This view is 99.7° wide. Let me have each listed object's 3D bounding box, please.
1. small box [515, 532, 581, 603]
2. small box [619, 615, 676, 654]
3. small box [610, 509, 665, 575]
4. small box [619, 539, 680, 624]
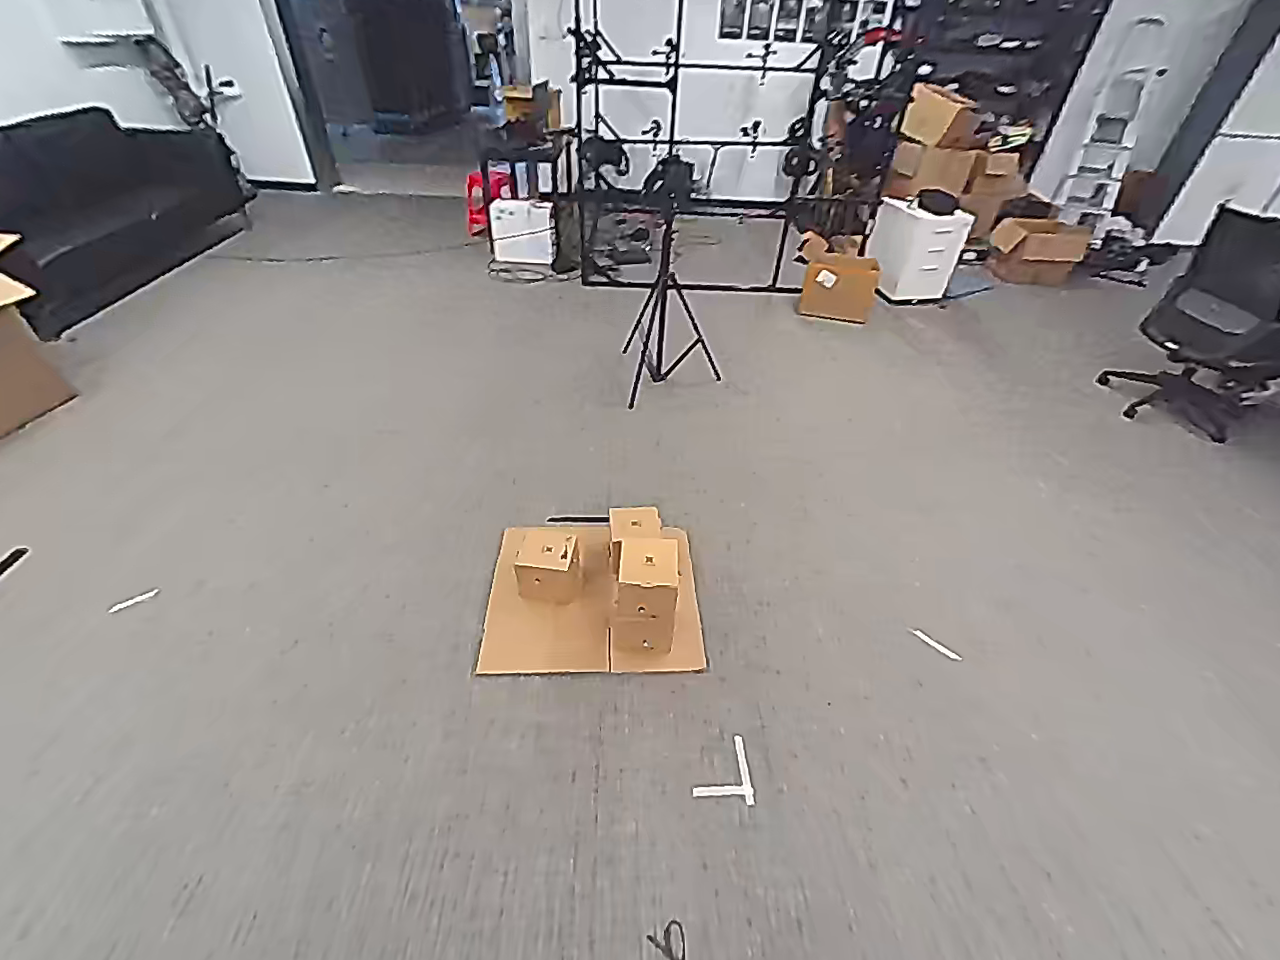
[{"bbox_3d":[-0.302,0.295,1.815,0.179,0.176,0.168,5,41,5],"label":"small box"},{"bbox_3d":[0.019,0.420,1.689,0.168,0.176,0.179,0,41,-2],"label":"small box"},{"bbox_3d":[-0.015,0.221,1.924,0.179,0.176,0.168,-2,39,-7],"label":"small box"},{"bbox_3d":[0.027,0.296,1.583,0.168,0.176,0.179,3,41,0],"label":"small box"}]
